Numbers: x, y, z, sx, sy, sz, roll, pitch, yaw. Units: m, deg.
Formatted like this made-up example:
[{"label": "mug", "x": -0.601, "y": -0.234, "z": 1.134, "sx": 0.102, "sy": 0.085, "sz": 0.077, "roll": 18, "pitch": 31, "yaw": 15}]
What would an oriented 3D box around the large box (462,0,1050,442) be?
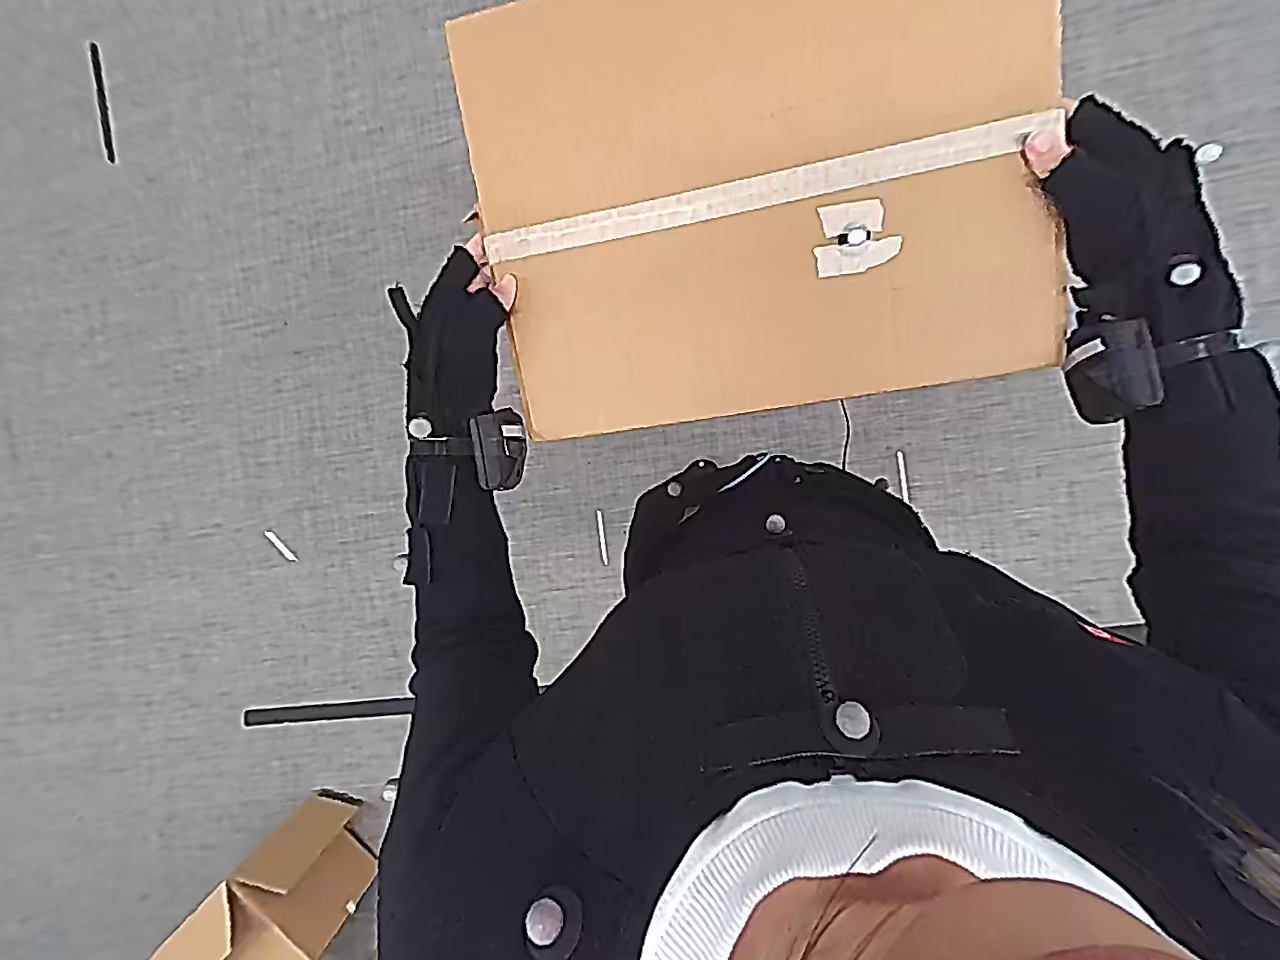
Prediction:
[{"label": "large box", "x": 0.101, "y": -0.241, "z": 0.548, "sx": 0.408, "sy": 0.320, "sz": 0.320, "roll": -9, "pitch": 102, "yaw": 9}]
